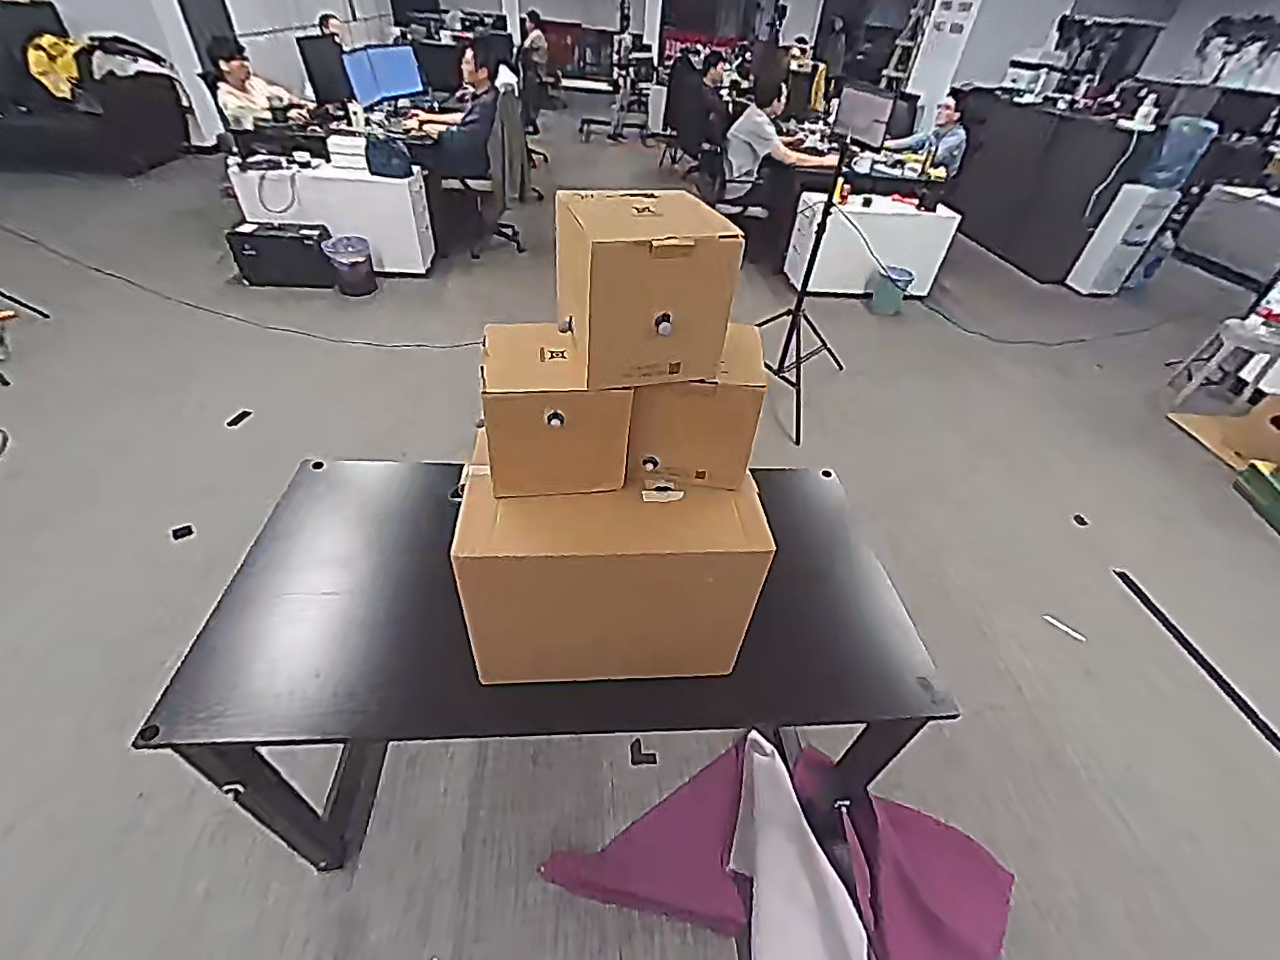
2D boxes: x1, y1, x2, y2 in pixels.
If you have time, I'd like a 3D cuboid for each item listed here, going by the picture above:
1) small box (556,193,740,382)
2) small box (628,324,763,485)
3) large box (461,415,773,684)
[{"bbox_3d":[-0.002,-0.229,0.649,0.168,0.176,0.179,-9,44,-16],"label":"small box"},{"bbox_3d":[0.074,-0.112,0.773,0.168,0.176,0.179,7,40,2],"label":"small box"},{"bbox_3d":[-0.053,0.105,0.879,0.408,0.320,0.320,0,42,-8],"label":"large box"}]
